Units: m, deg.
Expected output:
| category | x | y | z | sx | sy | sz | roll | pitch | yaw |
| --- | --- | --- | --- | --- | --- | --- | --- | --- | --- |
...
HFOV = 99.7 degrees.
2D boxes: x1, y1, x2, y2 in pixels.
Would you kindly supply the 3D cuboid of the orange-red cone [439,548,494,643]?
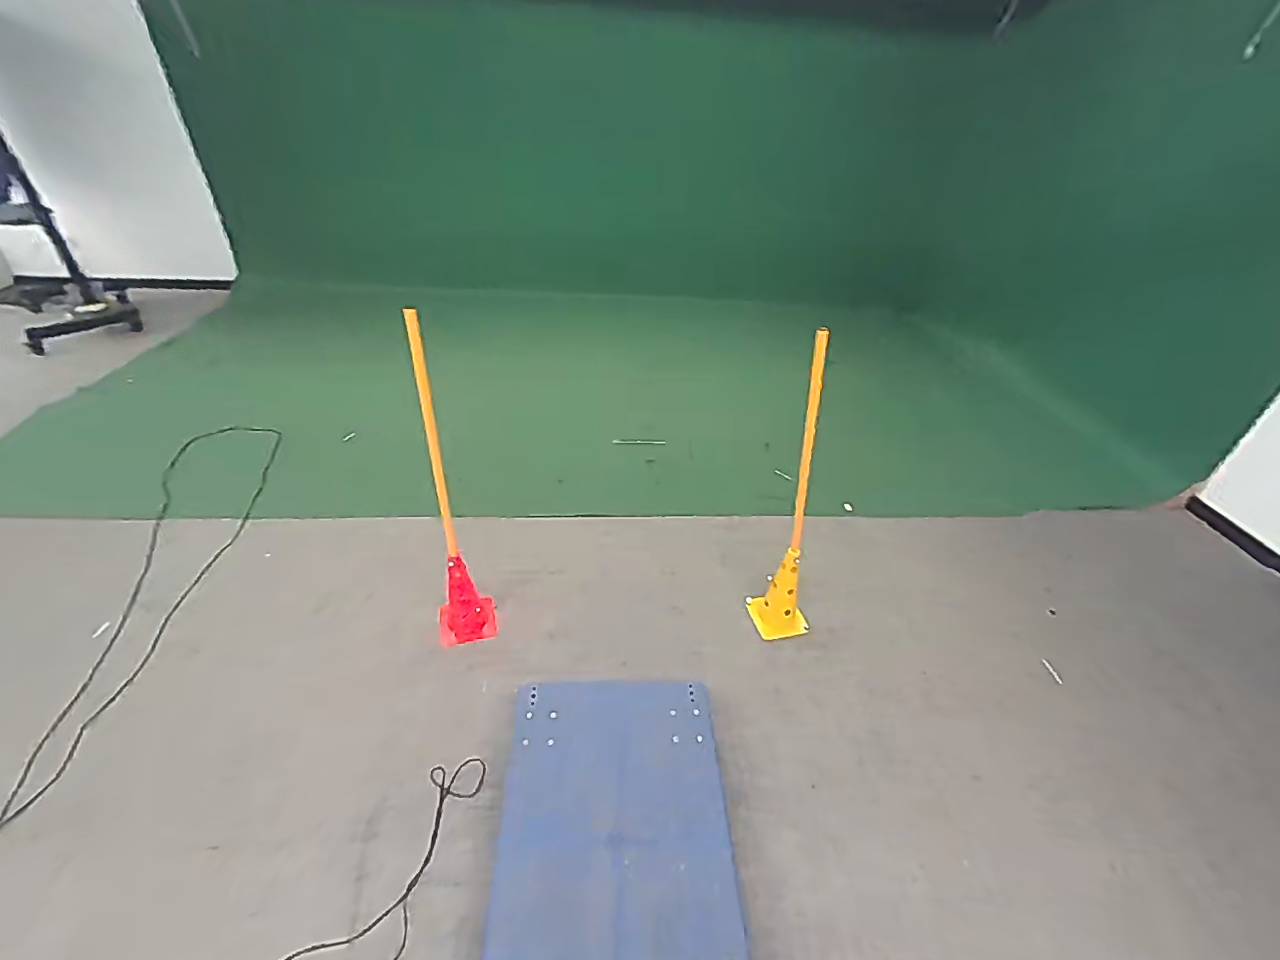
| category | x | y | z | sx | sy | sz | roll | pitch | yaw |
| --- | --- | --- | --- | --- | --- | --- | --- | --- | --- |
| orange-red cone | -0.647 | 0.382 | 1.926 | 0.199 | 0.360 | 0.198 | -10 | 38 | -15 |
